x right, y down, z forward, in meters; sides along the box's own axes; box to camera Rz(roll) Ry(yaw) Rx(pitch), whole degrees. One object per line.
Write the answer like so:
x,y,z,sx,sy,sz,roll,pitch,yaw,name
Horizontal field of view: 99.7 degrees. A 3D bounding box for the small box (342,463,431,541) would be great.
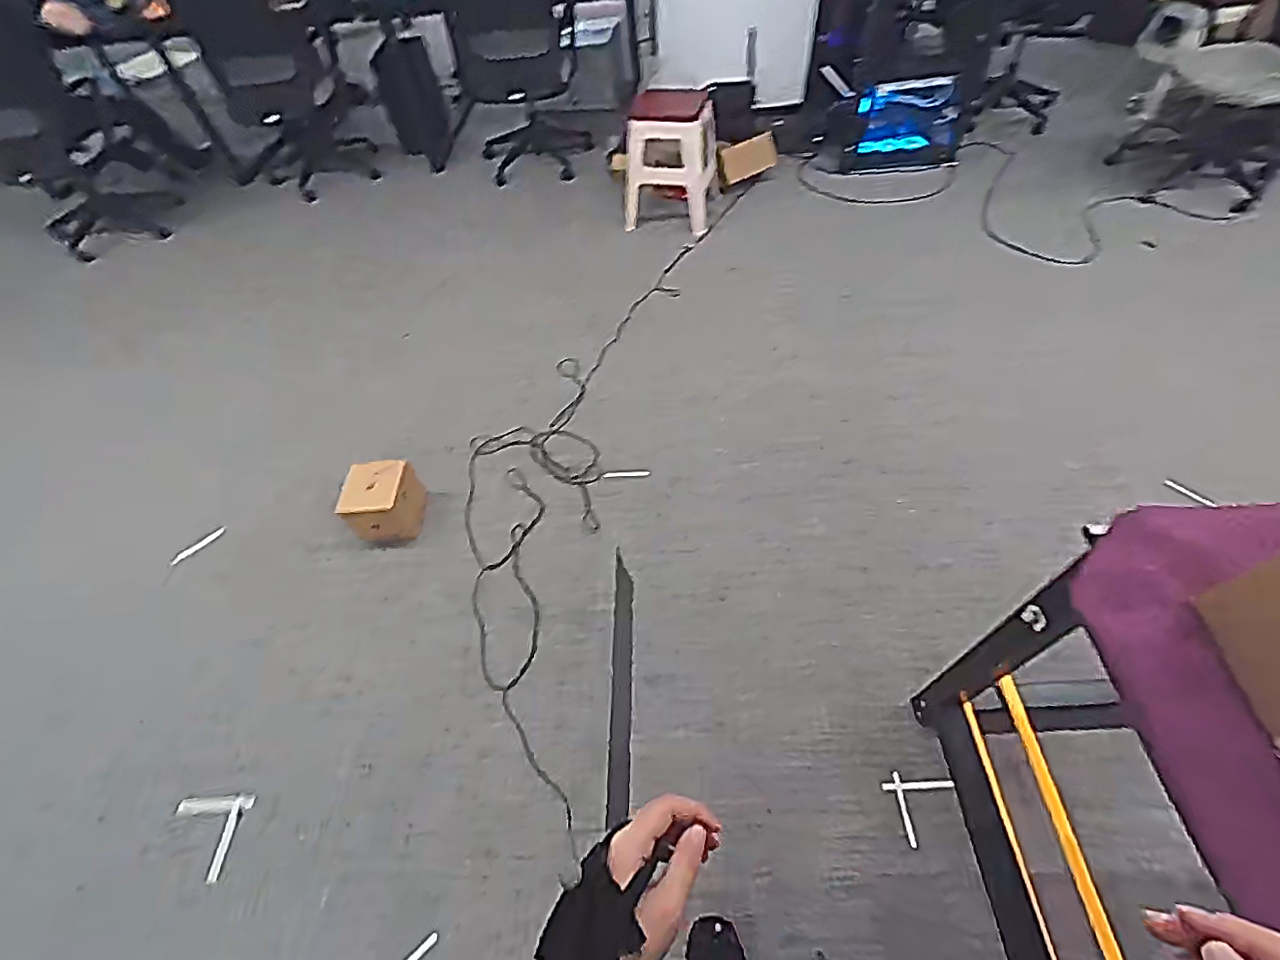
-0.744,0.071,1.611,0.168,0.176,0.179,-4,53,3,small box
